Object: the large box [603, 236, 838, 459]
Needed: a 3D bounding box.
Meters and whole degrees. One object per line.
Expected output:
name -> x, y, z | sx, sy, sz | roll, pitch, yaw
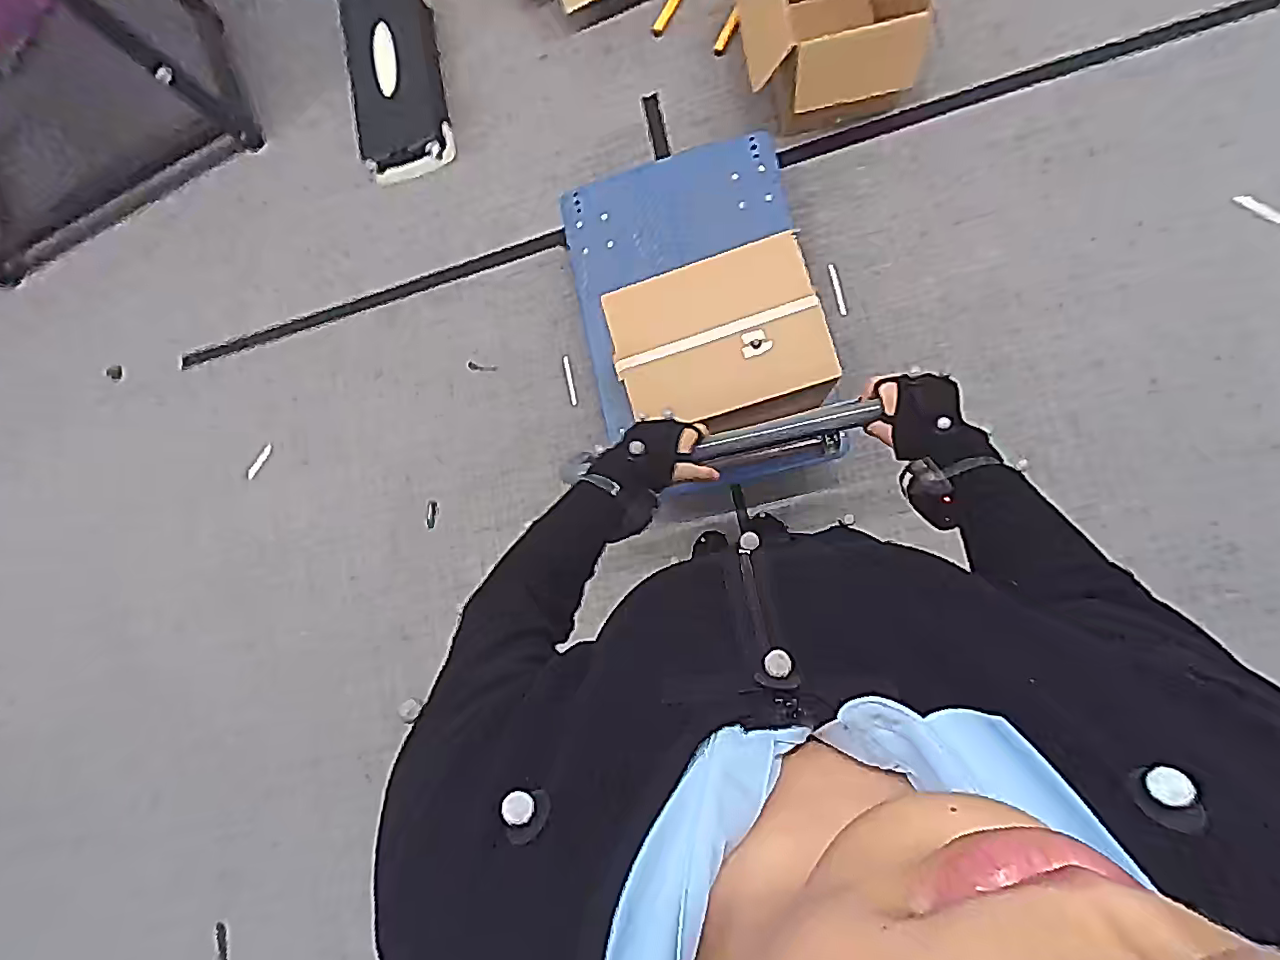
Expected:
large box -> 0.172, -0.267, 1.220 | 0.408, 0.320, 0.320 | -17, 83, 6
